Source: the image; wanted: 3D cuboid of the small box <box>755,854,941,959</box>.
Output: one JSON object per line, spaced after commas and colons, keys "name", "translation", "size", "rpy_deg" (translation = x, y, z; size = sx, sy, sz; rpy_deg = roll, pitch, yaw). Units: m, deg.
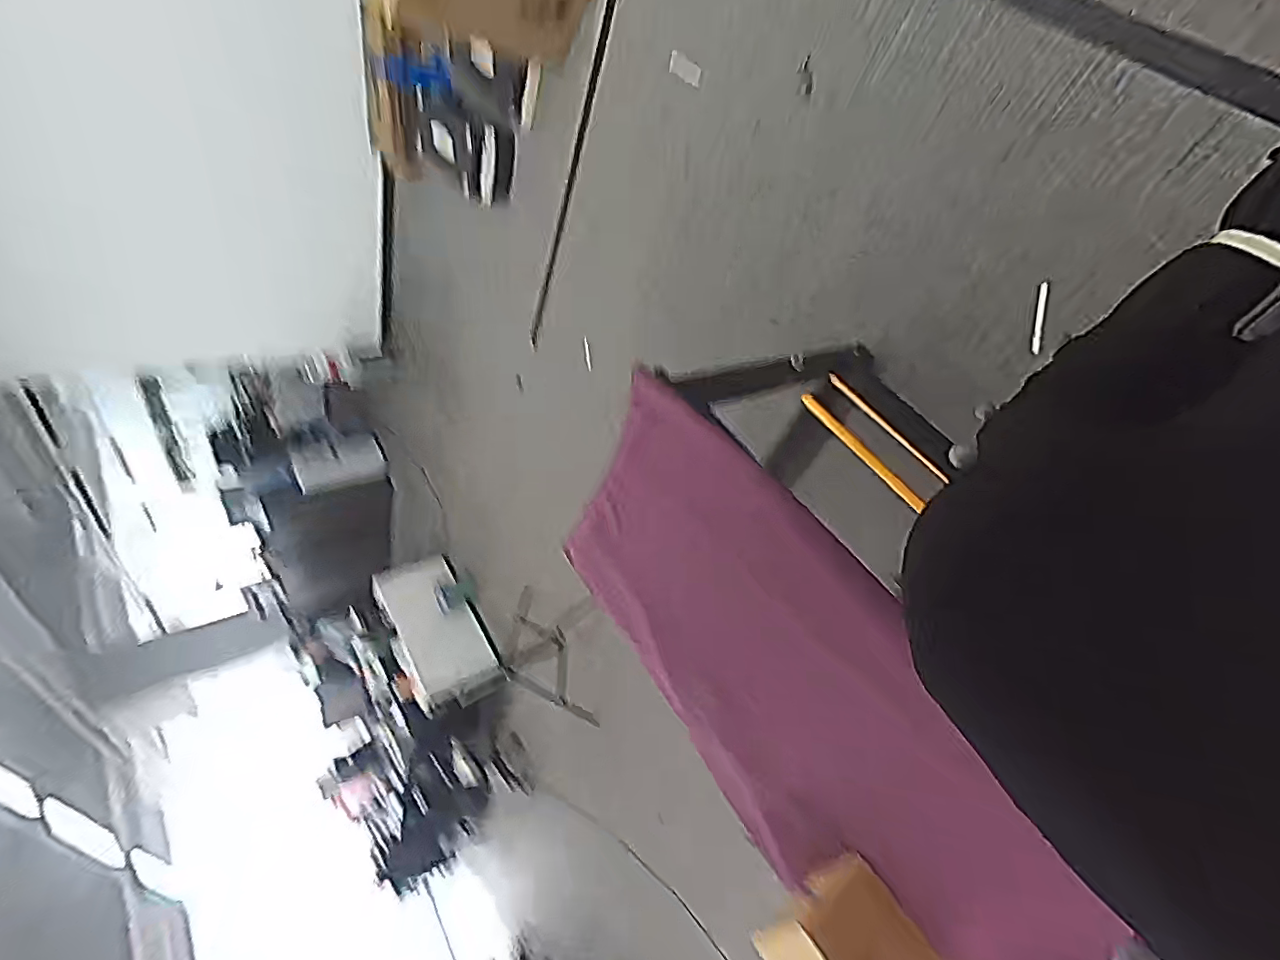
{"name": "small box", "translation": [0.324, 0.731, 0.853], "size": [0.179, 0.176, 0.168], "rpy_deg": [50, 138, 27]}
